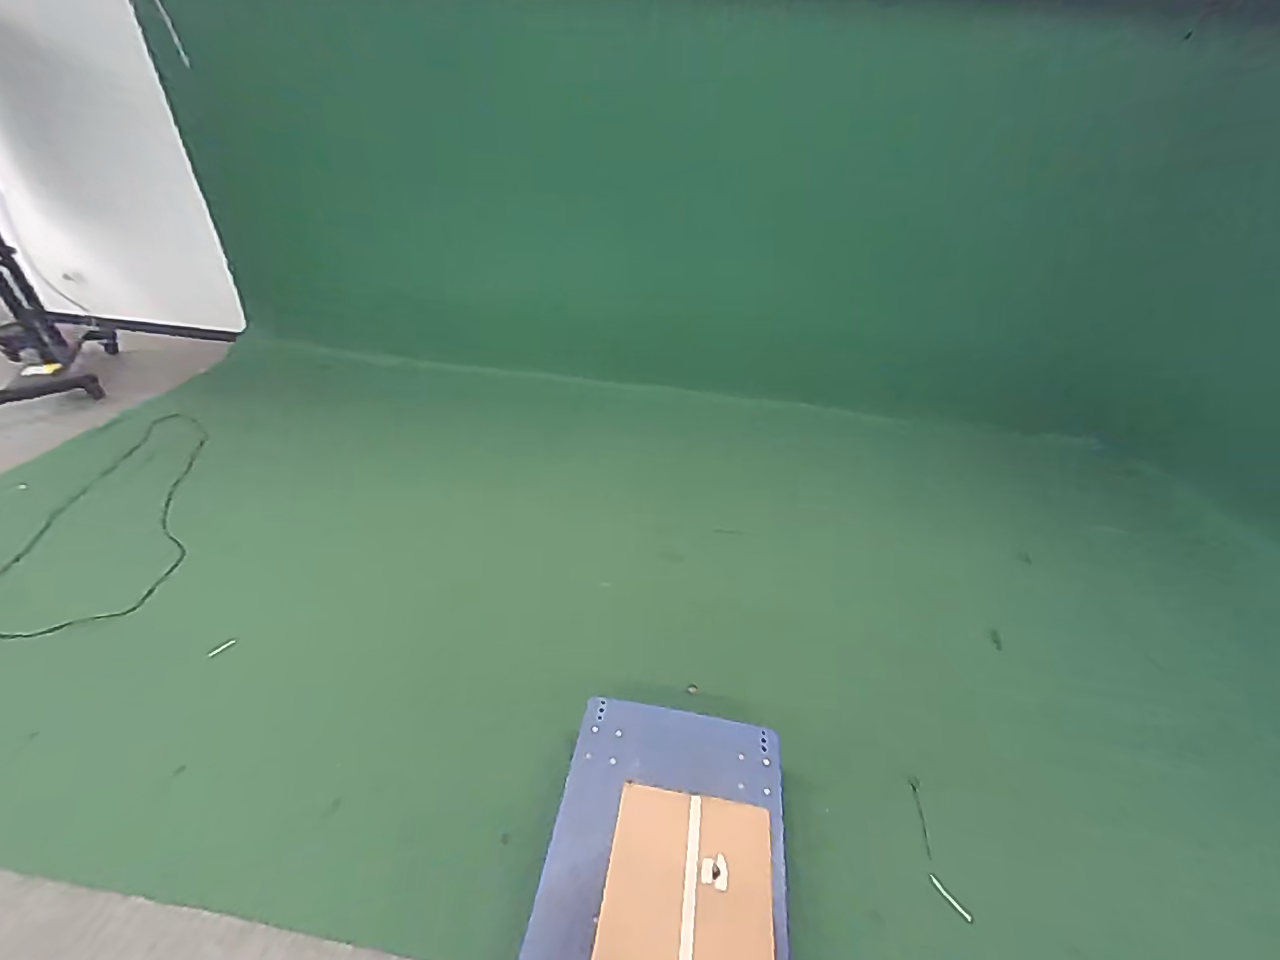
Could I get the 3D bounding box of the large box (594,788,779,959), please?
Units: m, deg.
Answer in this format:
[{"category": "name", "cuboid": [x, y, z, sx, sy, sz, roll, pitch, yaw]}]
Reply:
[{"category": "large box", "cuboid": [0.082, 0.903, 1.050, 0.320, 0.320, 0.408, 9, 34, 5]}]
